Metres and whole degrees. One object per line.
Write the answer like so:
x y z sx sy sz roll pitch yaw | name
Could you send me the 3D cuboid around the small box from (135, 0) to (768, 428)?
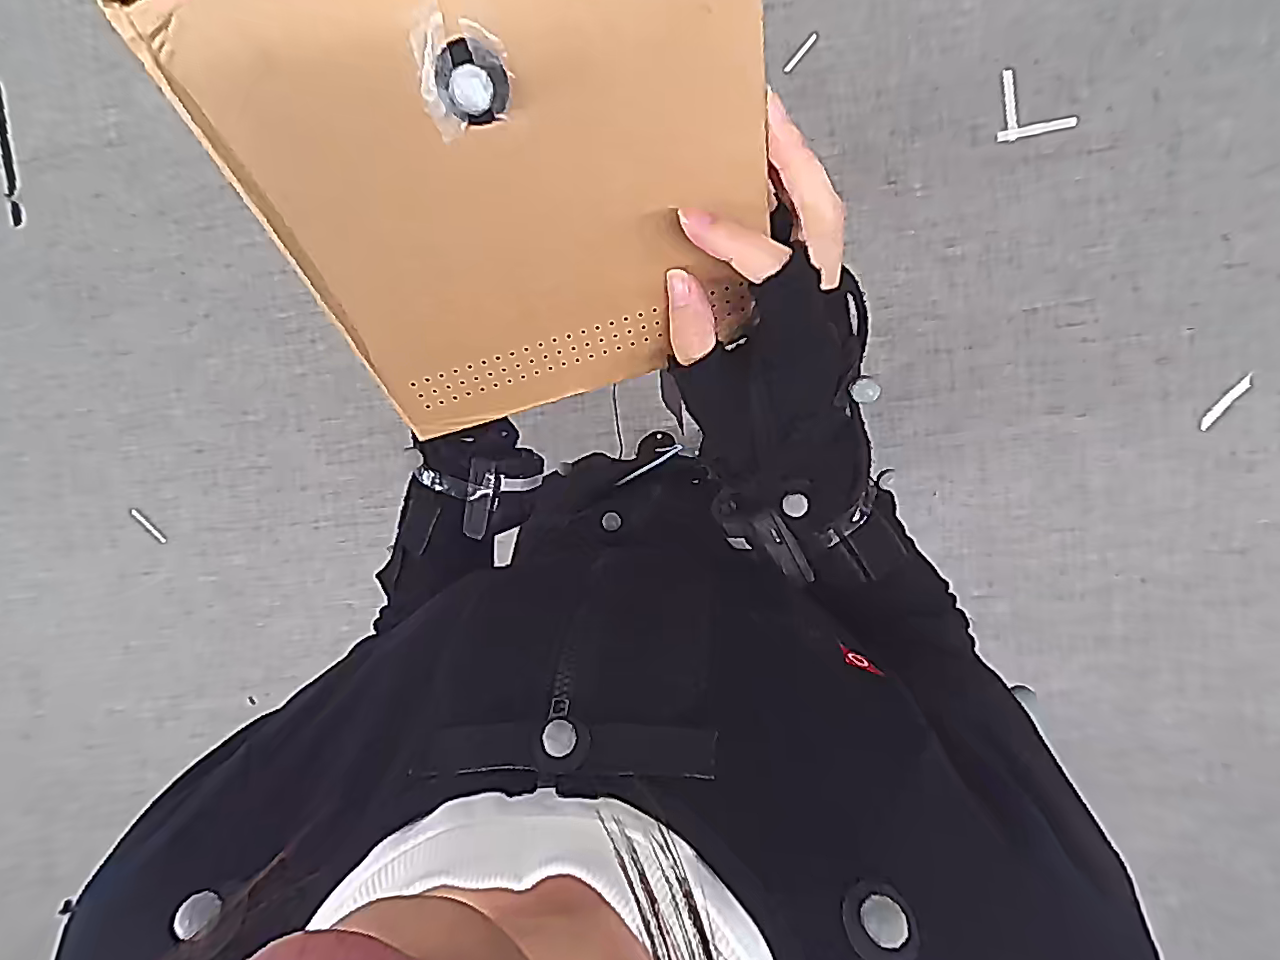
-0.050 -0.149 0.253 0.179 0.168 0.176 -16 139 2 | small box
